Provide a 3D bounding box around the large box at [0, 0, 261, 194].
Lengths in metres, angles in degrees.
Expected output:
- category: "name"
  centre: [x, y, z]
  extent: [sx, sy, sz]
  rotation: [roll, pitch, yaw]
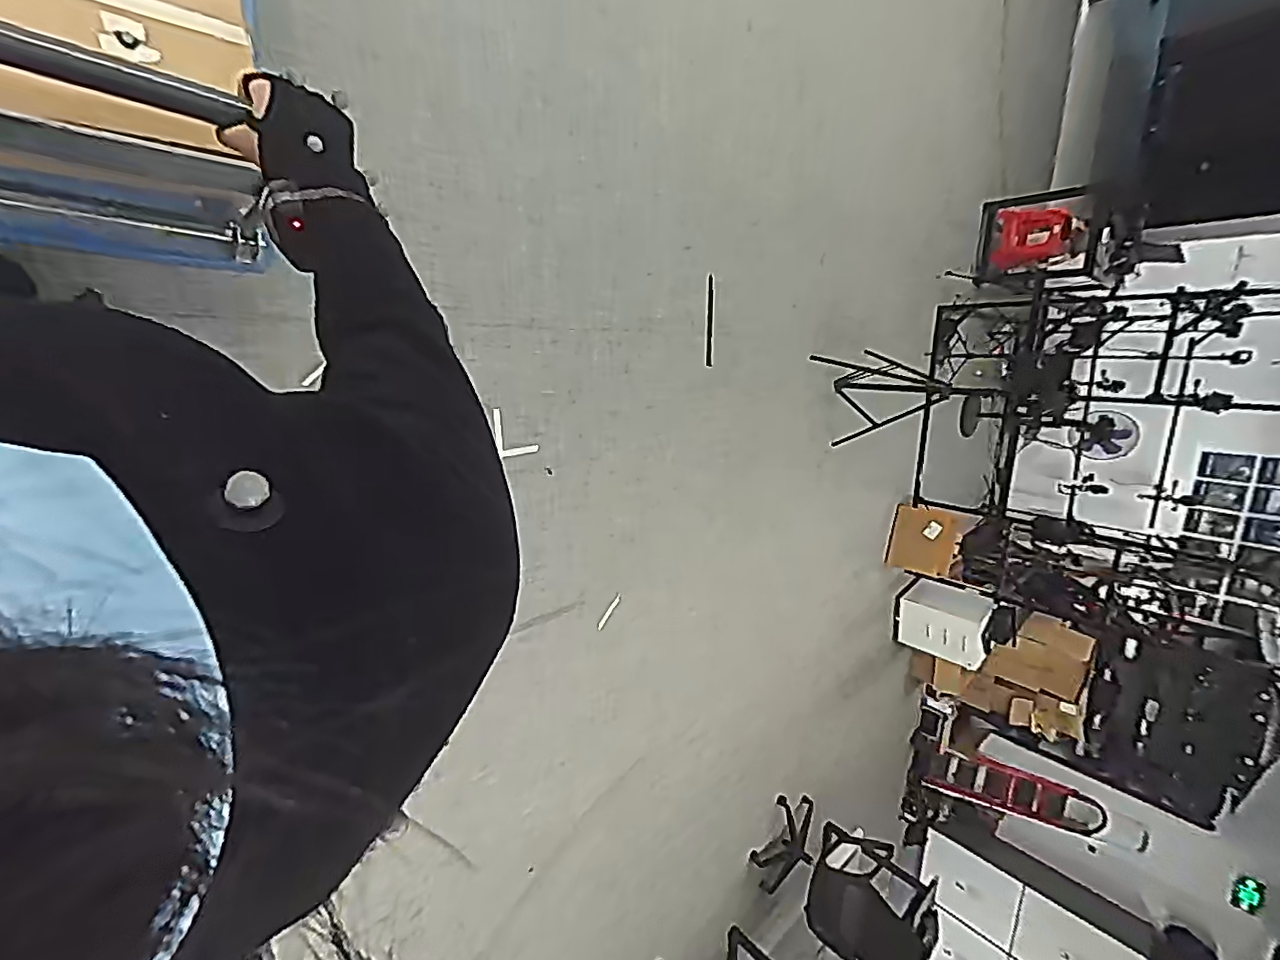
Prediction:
- category: "large box"
  centre: [-0.821, -0.626, 0.750]
  extent: [0.408, 0.320, 0.320]
  rotation: [-14, 110, -43]
